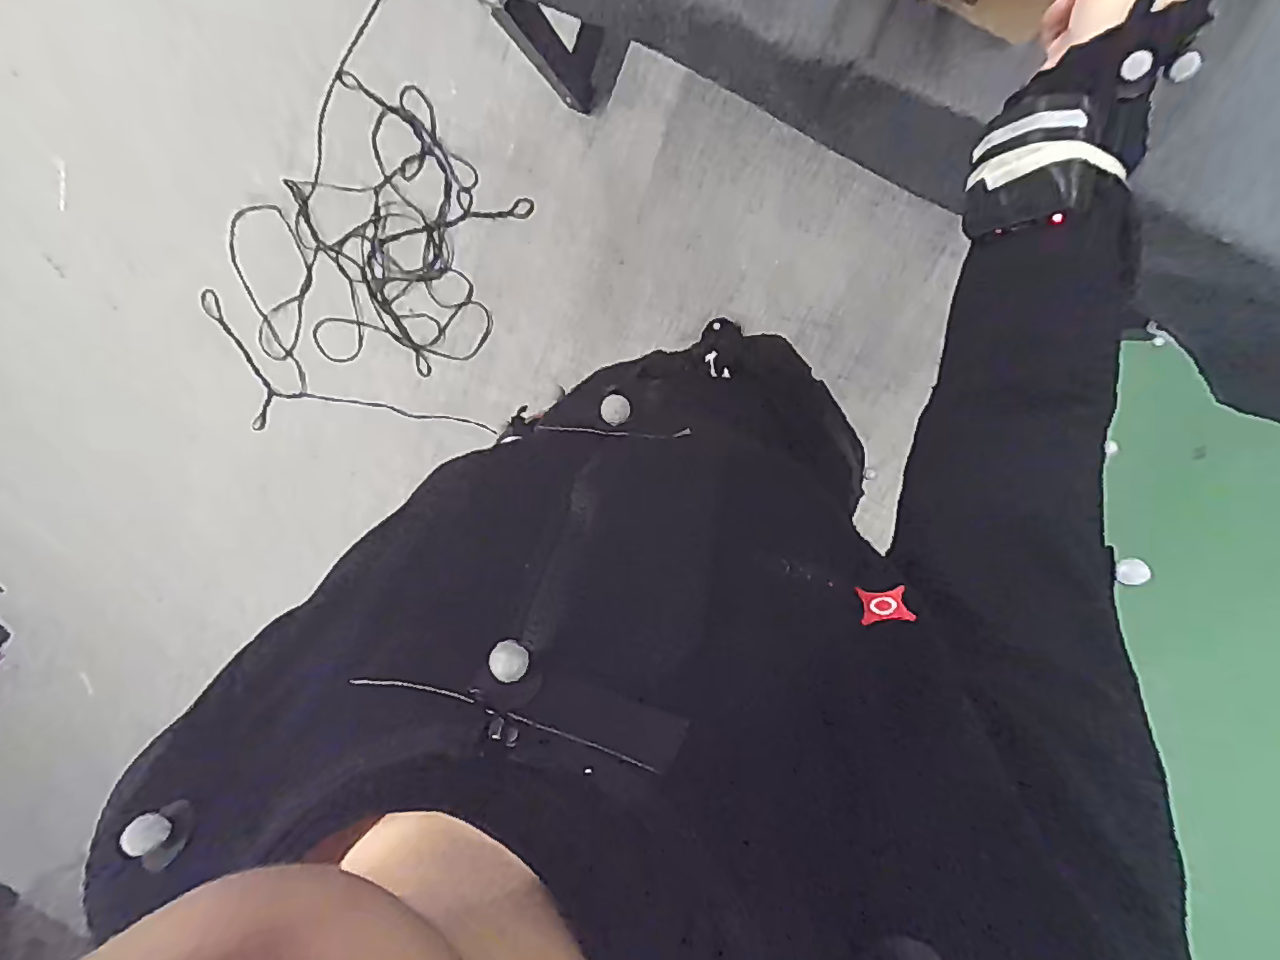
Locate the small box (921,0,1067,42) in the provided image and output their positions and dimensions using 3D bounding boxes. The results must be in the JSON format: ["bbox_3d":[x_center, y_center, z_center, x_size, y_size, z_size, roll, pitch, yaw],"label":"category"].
[{"bbox_3d":[0.268,-0.445,0.346,0.168,0.176,0.179,29,109,3],"label":"small box"}]
